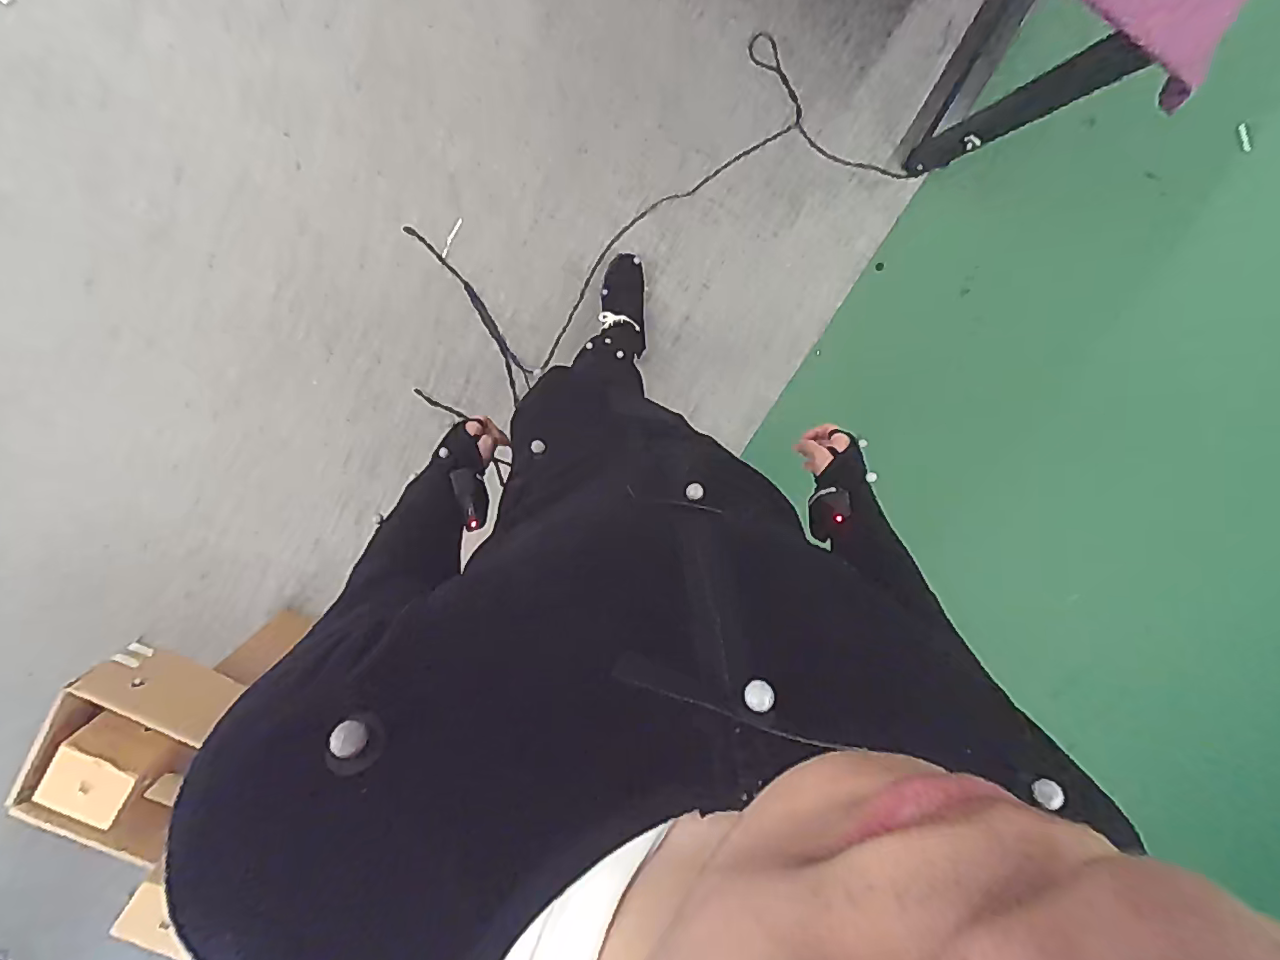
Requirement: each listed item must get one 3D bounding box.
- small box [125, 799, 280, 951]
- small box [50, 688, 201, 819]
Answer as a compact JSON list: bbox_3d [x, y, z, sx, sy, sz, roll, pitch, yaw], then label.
[{"bbox_3d":[-0.926,0.841,1.162,0.168,0.176,0.179,36,102,-12],"label":"small box"},{"bbox_3d":[-1.188,0.631,1.264,0.168,0.176,0.179,34,102,-11],"label":"small box"}]
